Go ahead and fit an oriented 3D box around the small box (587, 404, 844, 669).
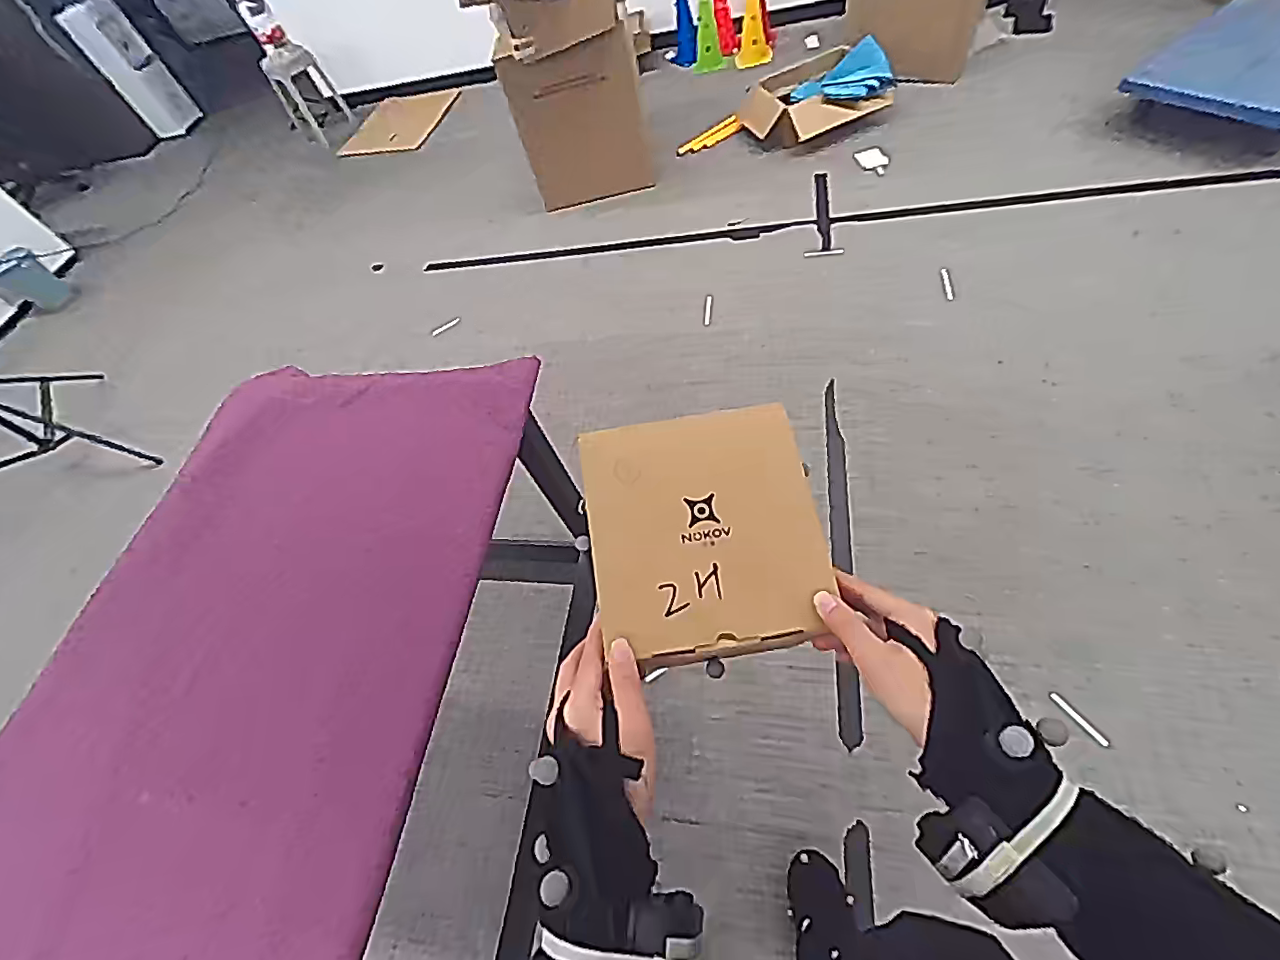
[{"bbox_3d":[0.050,0.059,0.471,0.168,0.176,0.179,-9,68,-1],"label":"small box"}]
